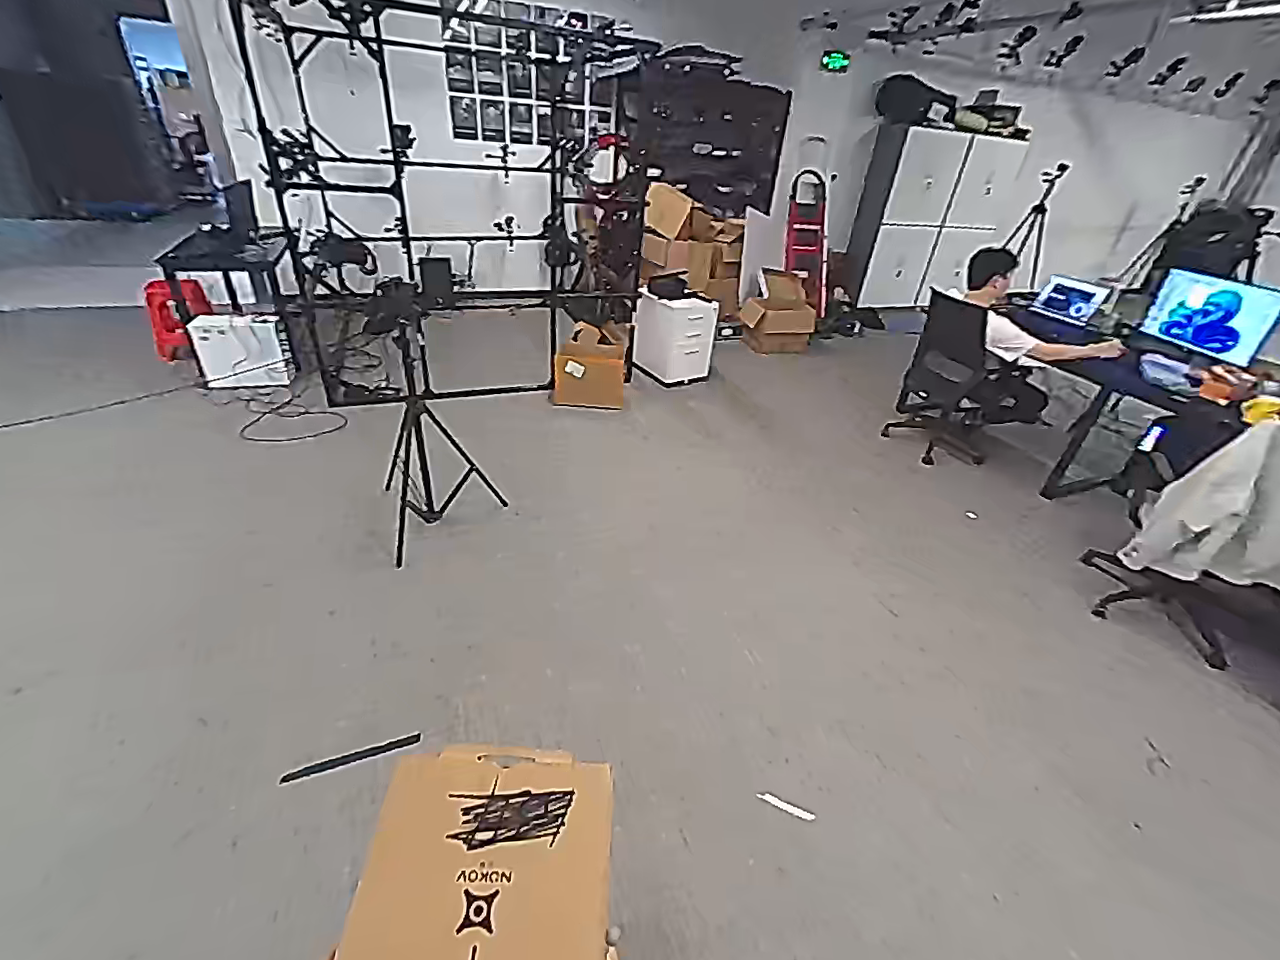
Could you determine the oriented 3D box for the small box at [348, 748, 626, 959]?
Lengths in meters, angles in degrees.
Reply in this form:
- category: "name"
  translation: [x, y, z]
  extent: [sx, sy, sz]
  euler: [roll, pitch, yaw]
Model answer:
- category: "small box"
  translation: [-0.103, 0.332, 0.410]
  extent: [0.168, 0.176, 0.179]
  euler: [5, 41, -4]
